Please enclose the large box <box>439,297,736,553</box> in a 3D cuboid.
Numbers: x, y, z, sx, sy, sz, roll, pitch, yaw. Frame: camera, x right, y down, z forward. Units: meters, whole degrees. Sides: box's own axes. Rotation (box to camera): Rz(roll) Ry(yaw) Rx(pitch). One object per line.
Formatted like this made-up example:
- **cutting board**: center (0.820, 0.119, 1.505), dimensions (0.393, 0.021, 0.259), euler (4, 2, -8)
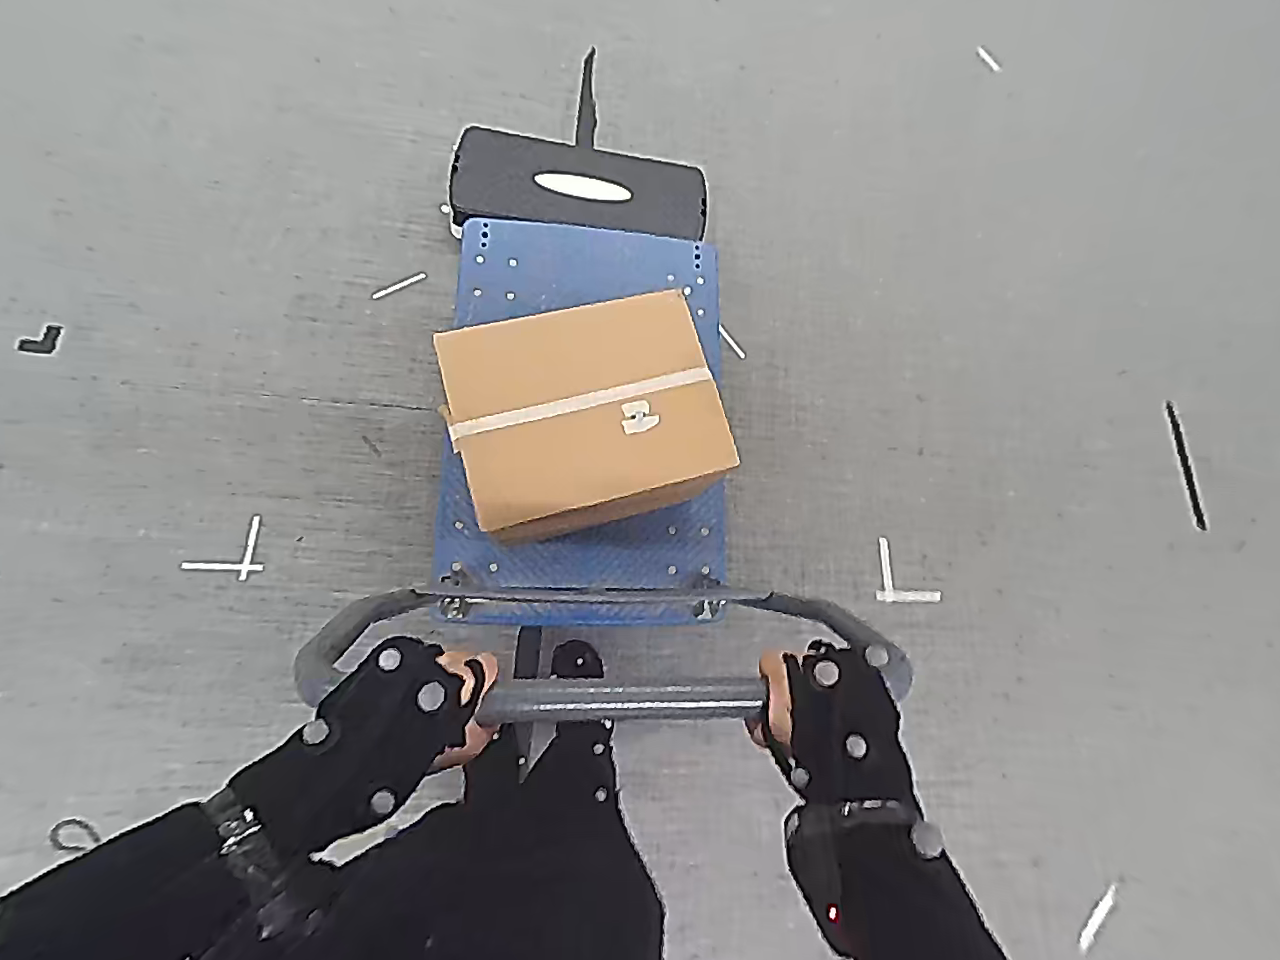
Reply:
- **large box**: center (-0.102, -0.080, 0.977), dimensions (0.408, 0.320, 0.320), euler (-15, 81, -13)
